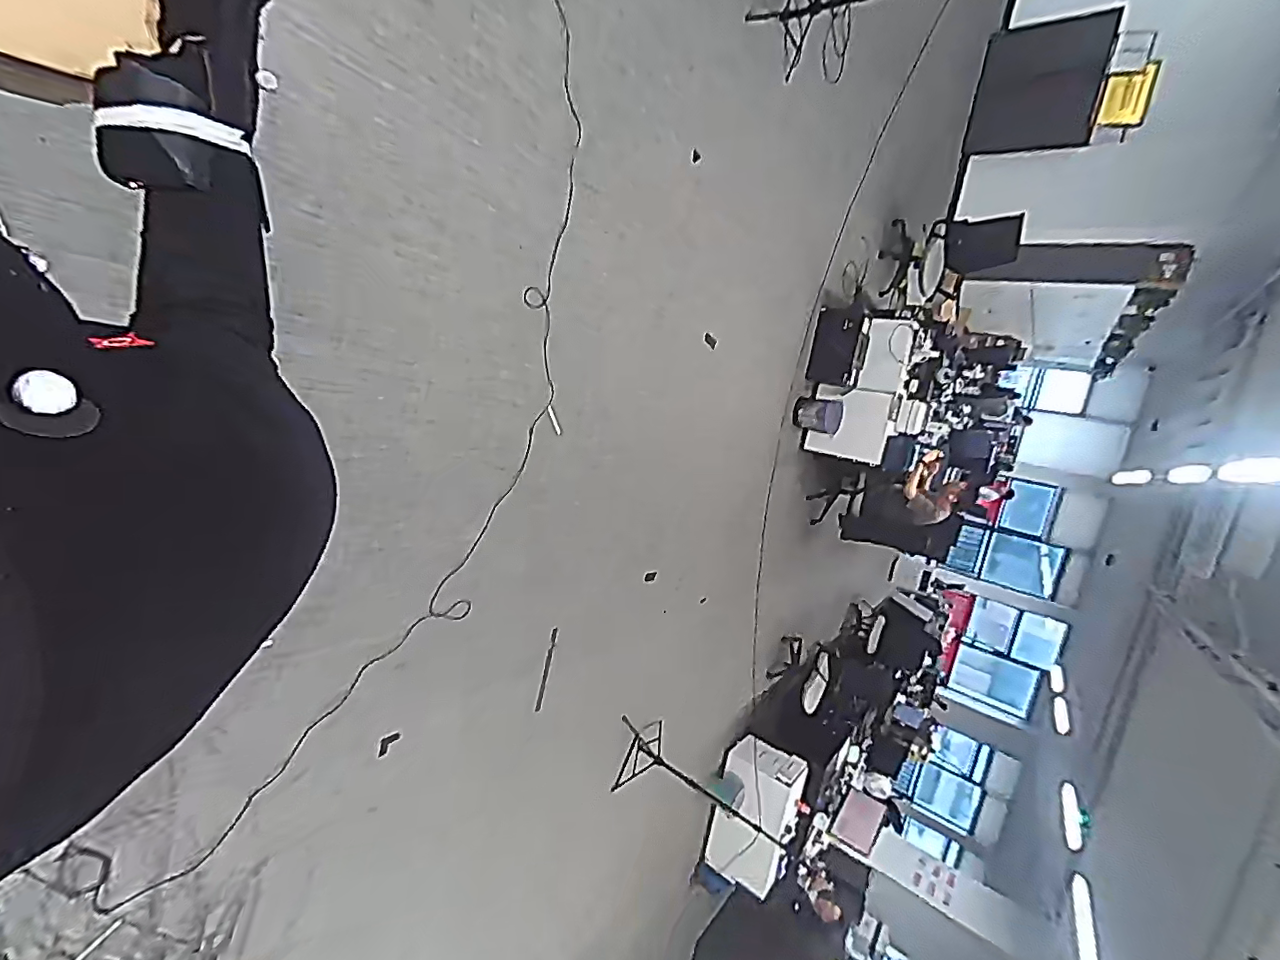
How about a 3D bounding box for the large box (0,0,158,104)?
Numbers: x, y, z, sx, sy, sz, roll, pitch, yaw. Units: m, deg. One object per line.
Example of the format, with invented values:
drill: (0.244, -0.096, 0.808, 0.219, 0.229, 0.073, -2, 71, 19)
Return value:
large box: (-0.543, -0.421, 0.247, 0.408, 0.320, 0.320, -15, 124, -53)
